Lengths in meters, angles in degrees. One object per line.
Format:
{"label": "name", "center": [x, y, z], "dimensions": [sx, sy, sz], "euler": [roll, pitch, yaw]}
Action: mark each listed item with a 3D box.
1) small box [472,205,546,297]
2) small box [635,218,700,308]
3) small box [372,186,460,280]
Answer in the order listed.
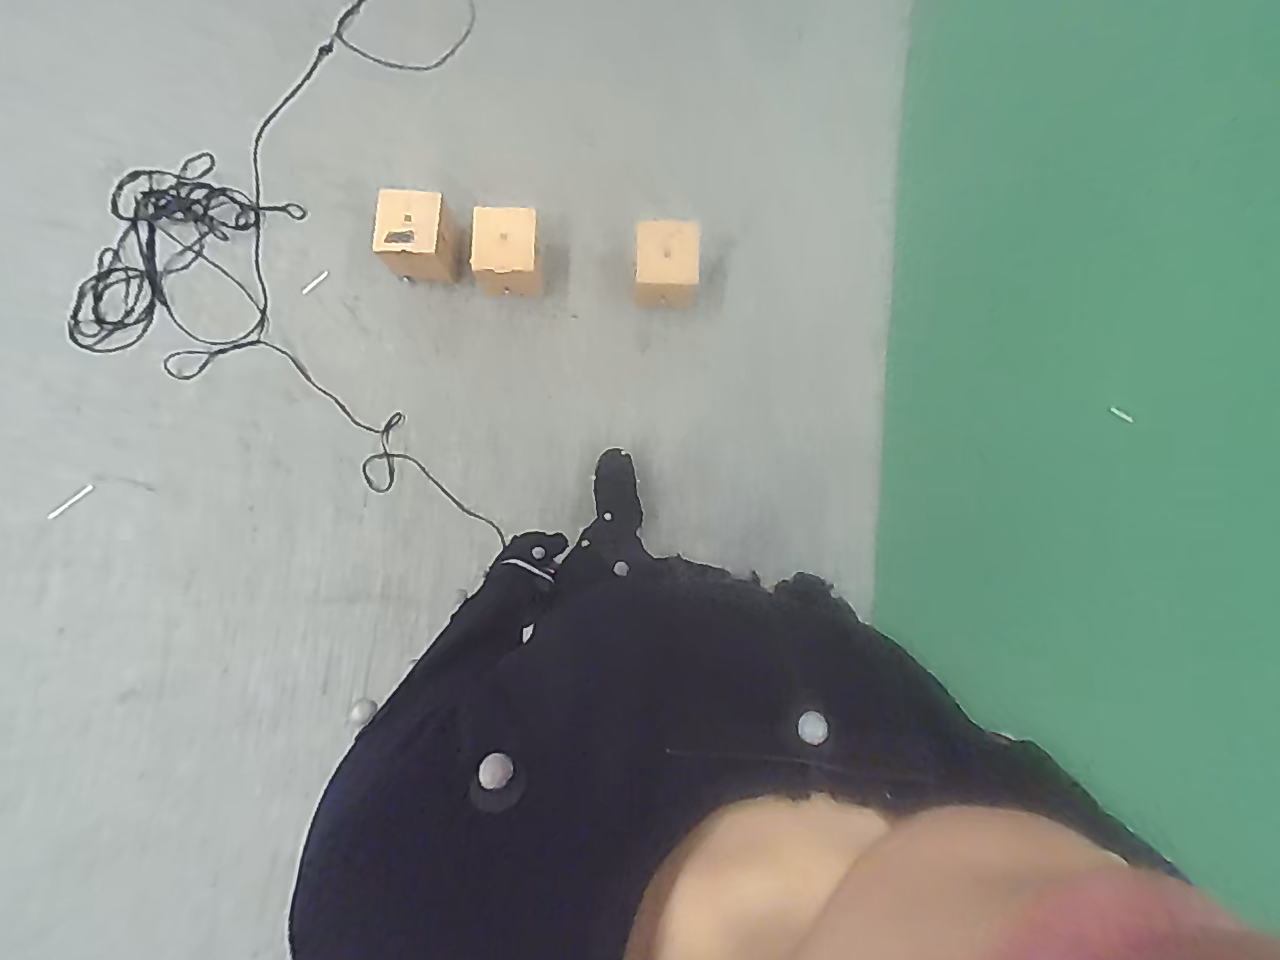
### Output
{"label": "small box", "center": [-0.353, -0.623, 1.481], "dimensions": [0.168, 0.176, 0.179], "euler": [1, 85, -1]}
{"label": "small box", "center": [0.072, -0.589, 1.487], "dimensions": [0.168, 0.176, 0.179], "euler": [1, 84, -2]}
{"label": "small box", "center": [-0.605, -0.668, 1.479], "dimensions": [0.168, 0.176, 0.179], "euler": [3, 83, -1]}
